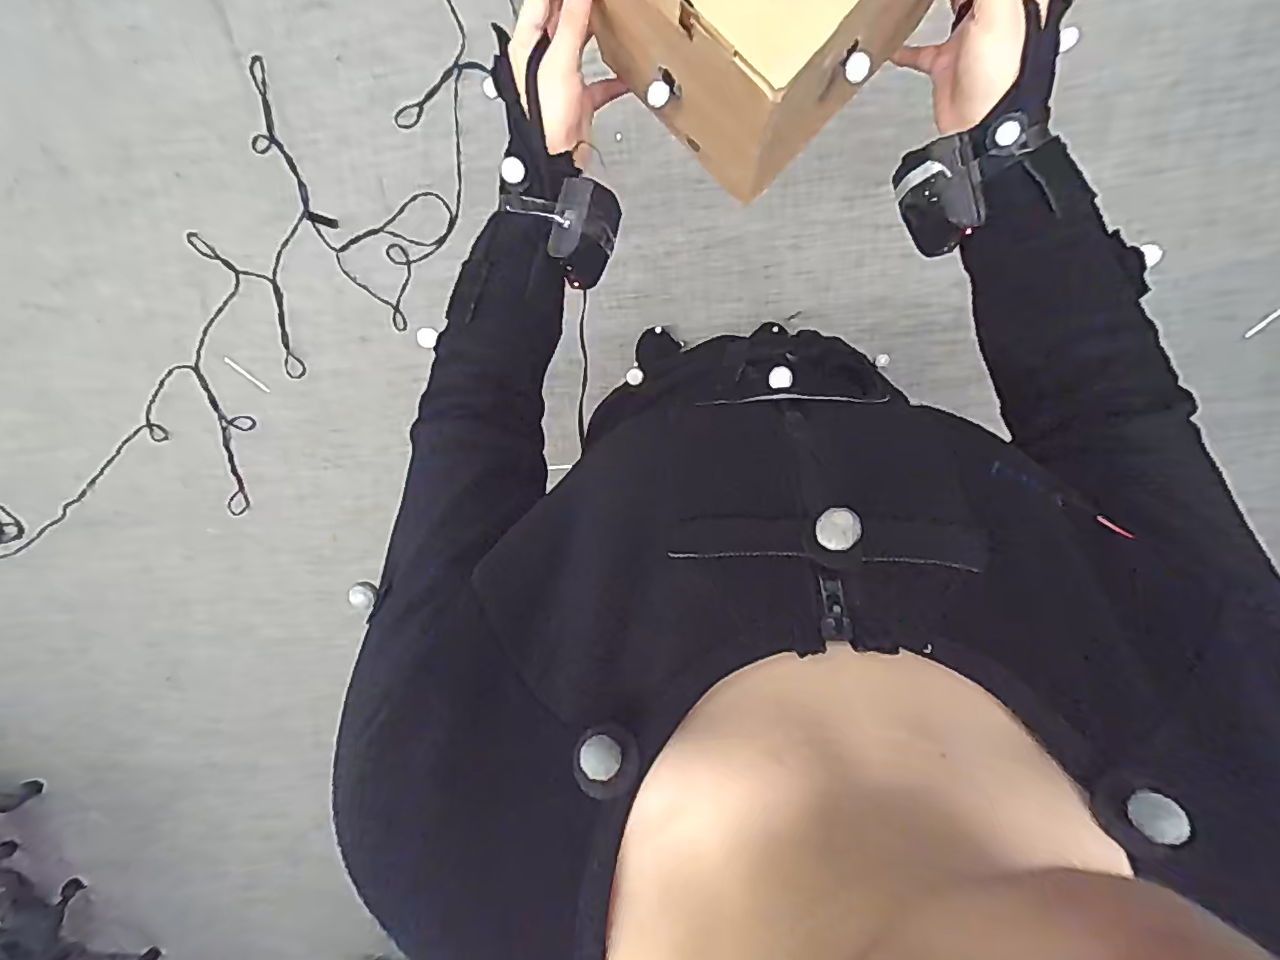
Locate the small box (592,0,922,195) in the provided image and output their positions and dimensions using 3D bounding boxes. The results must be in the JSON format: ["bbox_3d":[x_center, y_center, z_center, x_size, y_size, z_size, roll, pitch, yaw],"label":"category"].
[{"bbox_3d":[0.078,-0.322,0.339,0.168,0.176,0.179,44,102,-2],"label":"small box"}]
